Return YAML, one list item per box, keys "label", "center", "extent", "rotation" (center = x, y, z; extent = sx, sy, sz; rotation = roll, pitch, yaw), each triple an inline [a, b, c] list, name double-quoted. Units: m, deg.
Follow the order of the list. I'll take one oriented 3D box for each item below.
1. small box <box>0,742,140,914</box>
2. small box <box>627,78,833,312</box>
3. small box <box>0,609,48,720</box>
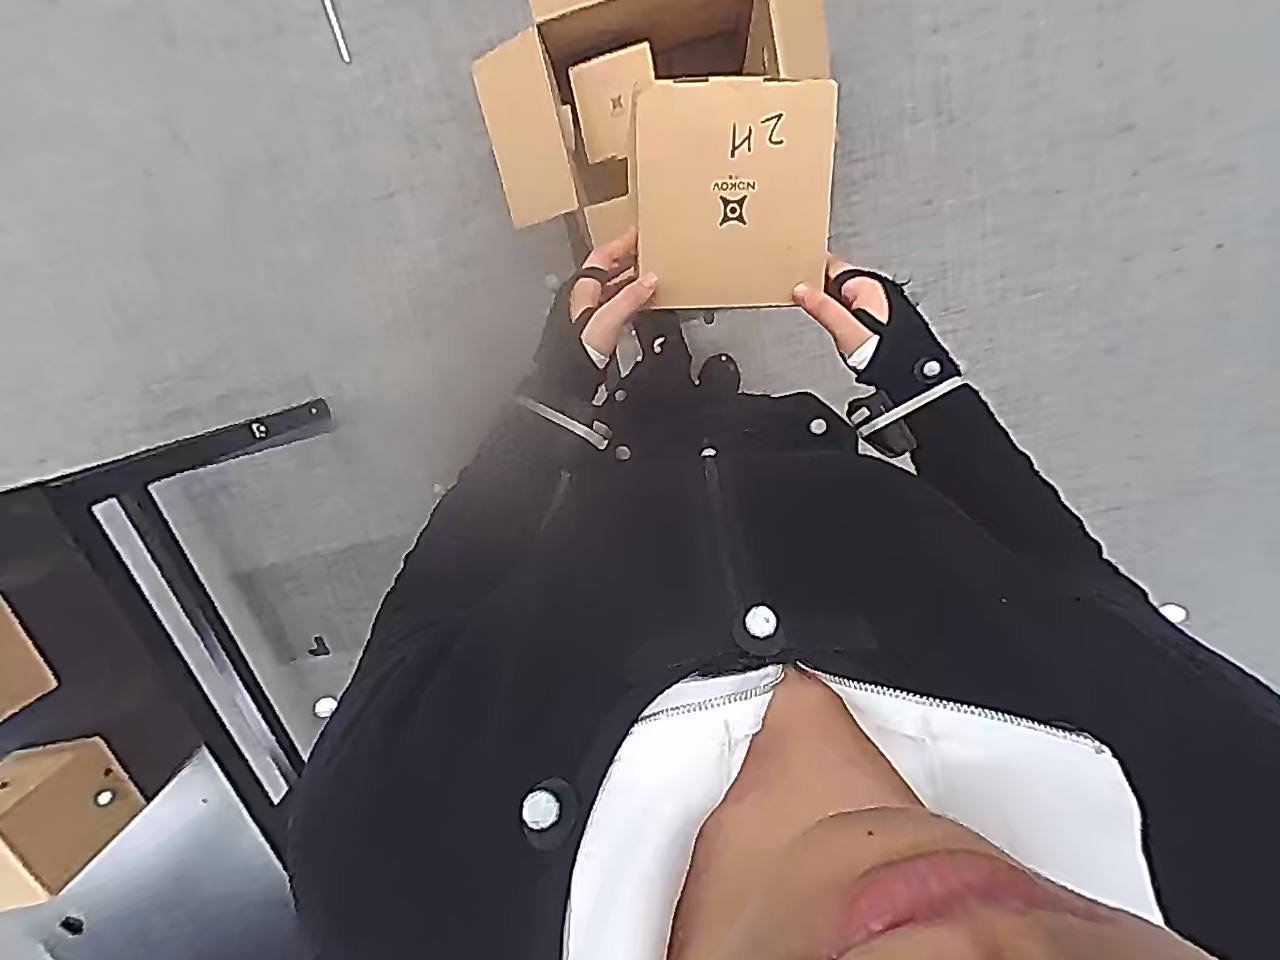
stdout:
- label: "small box"
  center: [-0.990, 0.559, 0.875]
  extent: [0.179, 0.176, 0.168]
  rotation: [-13, 108, 5]
- label: "small box"
  center: [0.073, -0.259, 0.531]
  extent: [0.168, 0.176, 0.179]
  rotation: [-3, 106, -2]
- label: "small box"
  center: [-1.054, 0.299, 0.790]
  extent: [0.168, 0.176, 0.179]
  rotation: [-10, 109, 5]
